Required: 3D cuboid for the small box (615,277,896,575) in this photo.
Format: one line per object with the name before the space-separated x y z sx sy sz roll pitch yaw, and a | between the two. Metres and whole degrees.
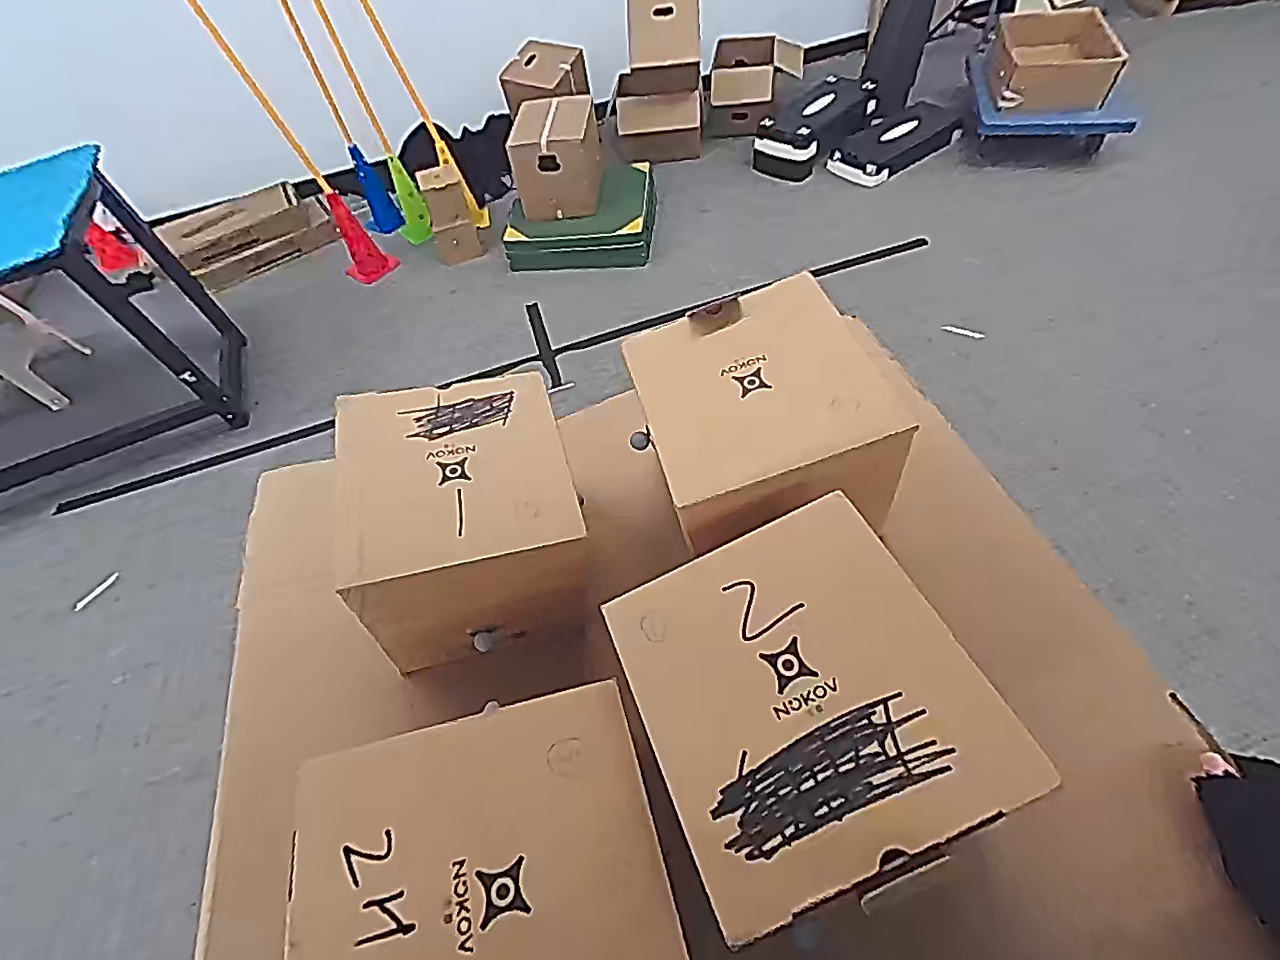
small box | 0.095 -0.034 0.472 0.168 0.176 0.179 -20 55 3
